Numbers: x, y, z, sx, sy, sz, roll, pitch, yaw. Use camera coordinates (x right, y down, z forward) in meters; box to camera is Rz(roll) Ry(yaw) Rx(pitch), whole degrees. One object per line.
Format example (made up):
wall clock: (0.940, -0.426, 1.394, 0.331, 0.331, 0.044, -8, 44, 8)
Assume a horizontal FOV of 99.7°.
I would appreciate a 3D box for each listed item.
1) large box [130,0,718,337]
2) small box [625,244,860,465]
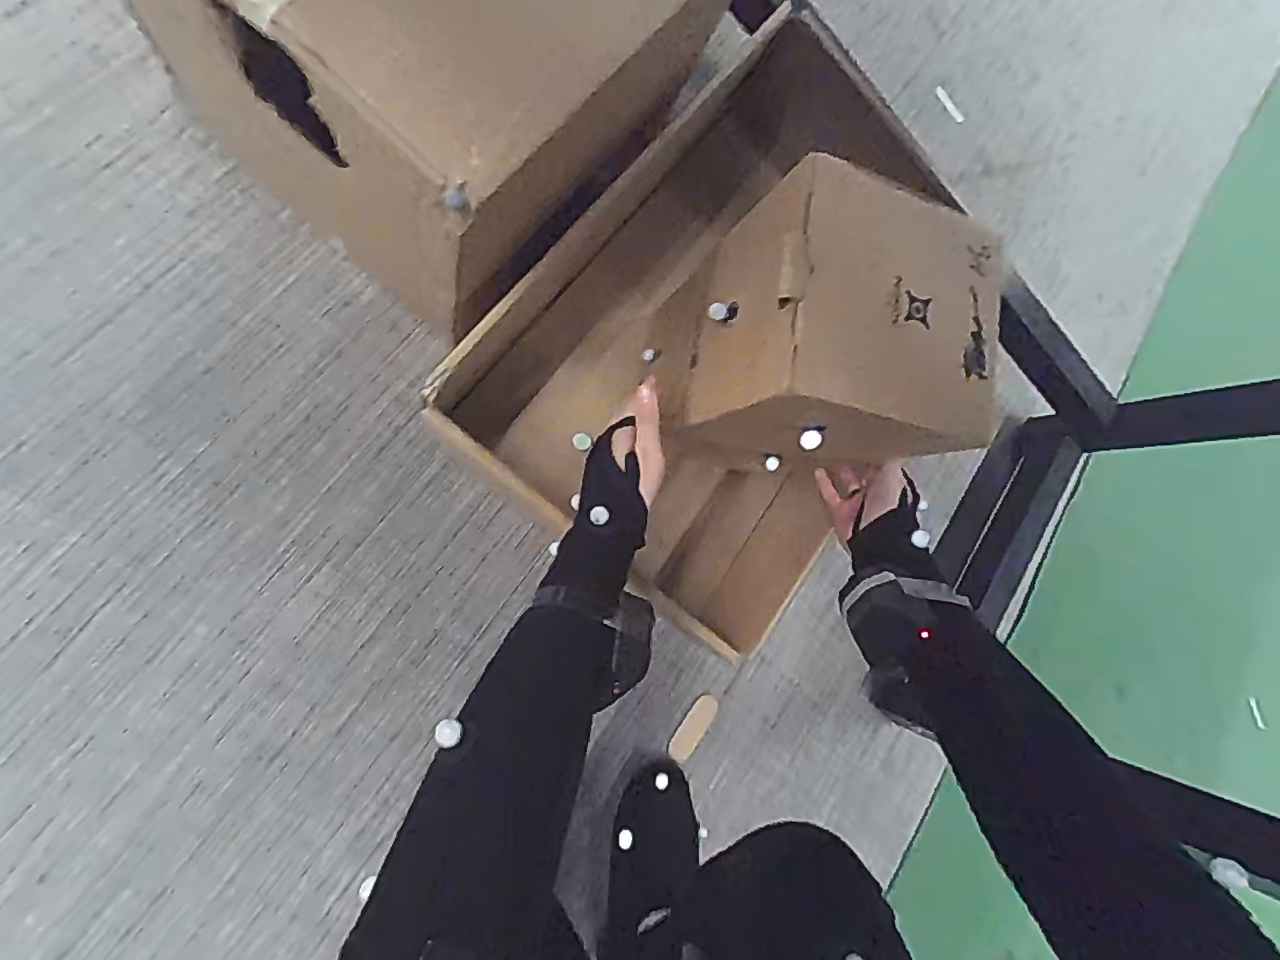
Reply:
large box: (-0.162, -0.415, 0.506, 0.320, 0.320, 0.408, 40, 76, -13)
small box: (0.104, -0.118, 0.597, 0.179, 0.176, 0.168, 16, 81, -18)
